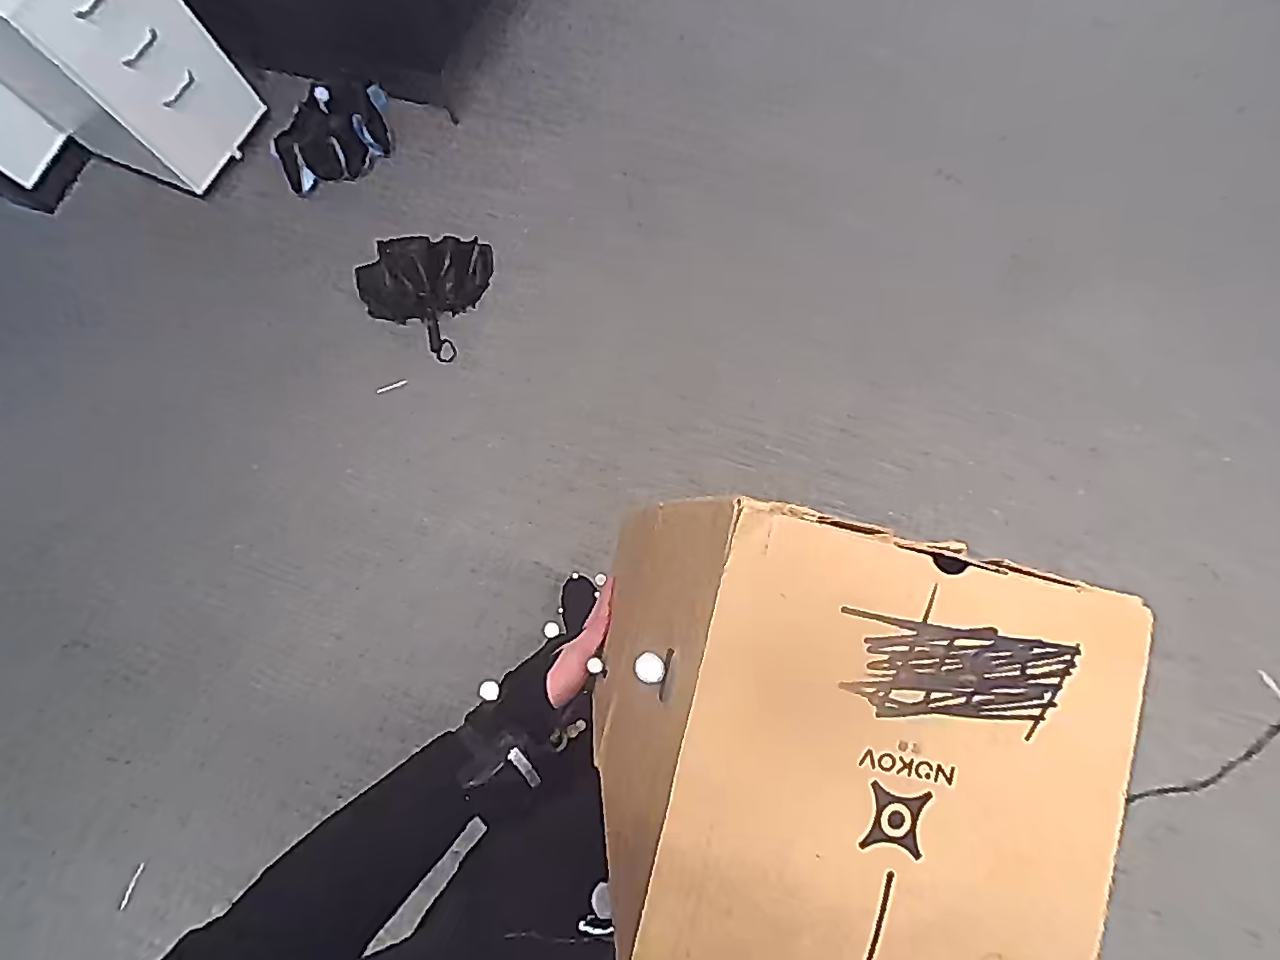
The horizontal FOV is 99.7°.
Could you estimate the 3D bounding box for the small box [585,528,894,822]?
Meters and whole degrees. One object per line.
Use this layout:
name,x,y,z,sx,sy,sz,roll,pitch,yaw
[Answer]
small box,0.059,0.139,0.409,0.168,0.176,0.179,14,85,-5
